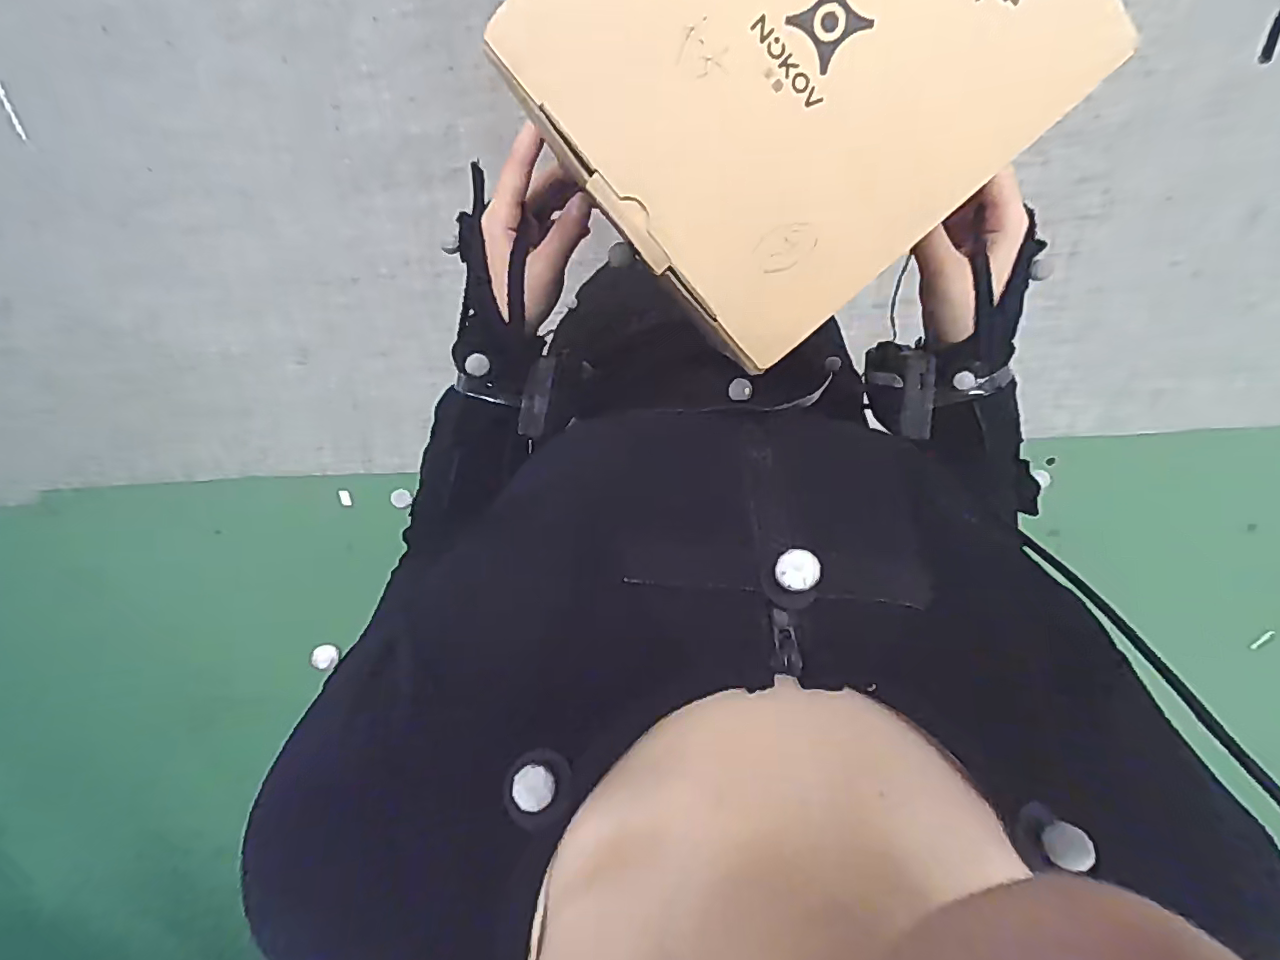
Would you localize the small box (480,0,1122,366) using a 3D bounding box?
[{"bbox_3d":[0.060,-0.181,0.272,0.179,0.176,0.168,-40,102,13],"label":"small box"}]
